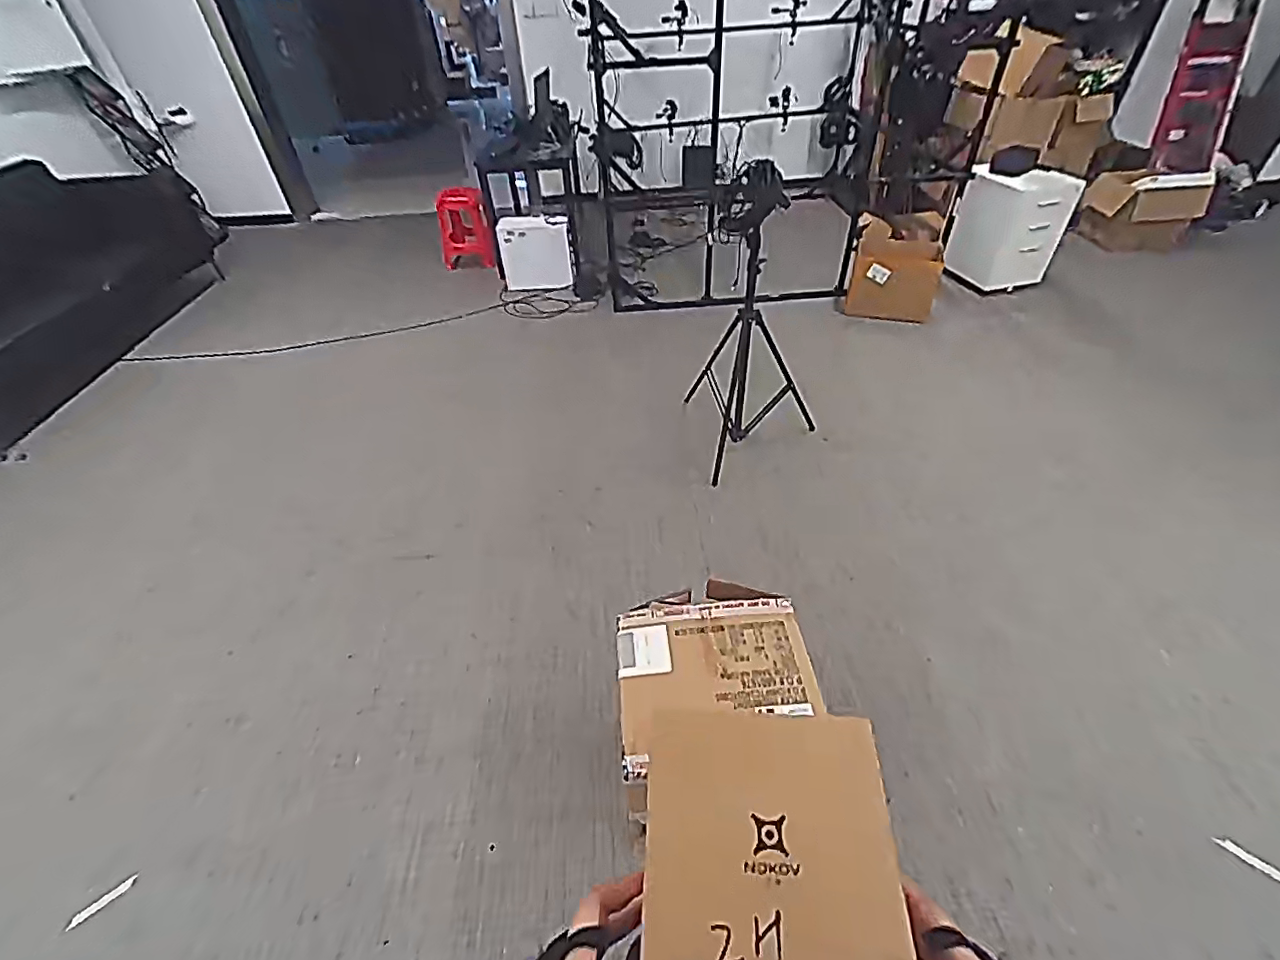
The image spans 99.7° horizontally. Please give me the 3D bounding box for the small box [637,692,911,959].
[{"bbox_3d":[0.087,0.286,0.426,0.168,0.176,0.179,1,52,4],"label":"small box"}]
